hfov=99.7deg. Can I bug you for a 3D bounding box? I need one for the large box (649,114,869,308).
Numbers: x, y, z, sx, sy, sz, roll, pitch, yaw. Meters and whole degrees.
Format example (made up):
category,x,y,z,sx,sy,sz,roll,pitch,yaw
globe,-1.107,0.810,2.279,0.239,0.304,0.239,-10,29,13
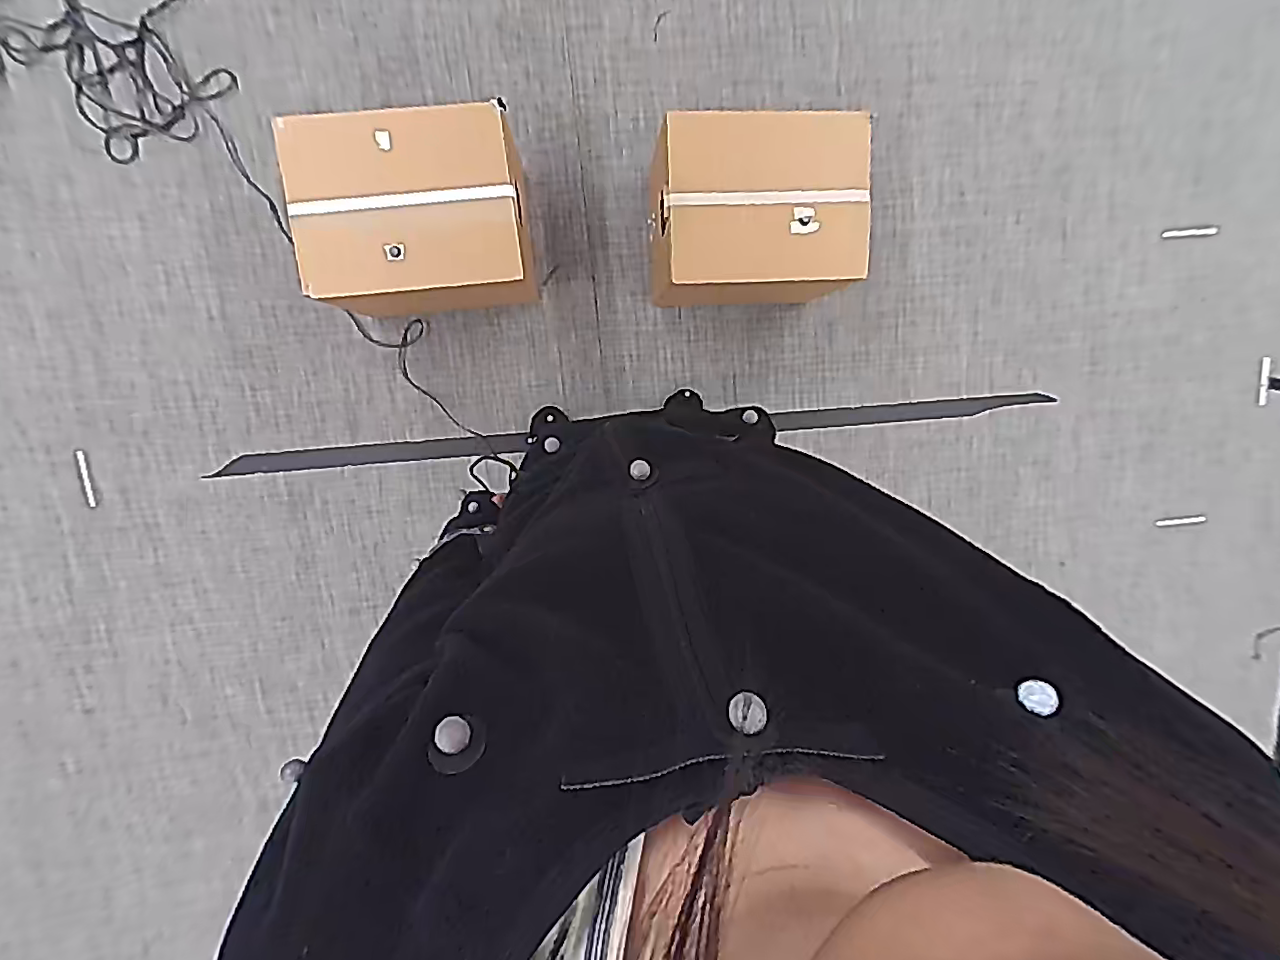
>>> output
category,x,y,z,sx,sy,sz,roll,pitch,yaw
large box,0.242,-0.575,1.210,0.408,0.320,0.320,-3,100,-6
